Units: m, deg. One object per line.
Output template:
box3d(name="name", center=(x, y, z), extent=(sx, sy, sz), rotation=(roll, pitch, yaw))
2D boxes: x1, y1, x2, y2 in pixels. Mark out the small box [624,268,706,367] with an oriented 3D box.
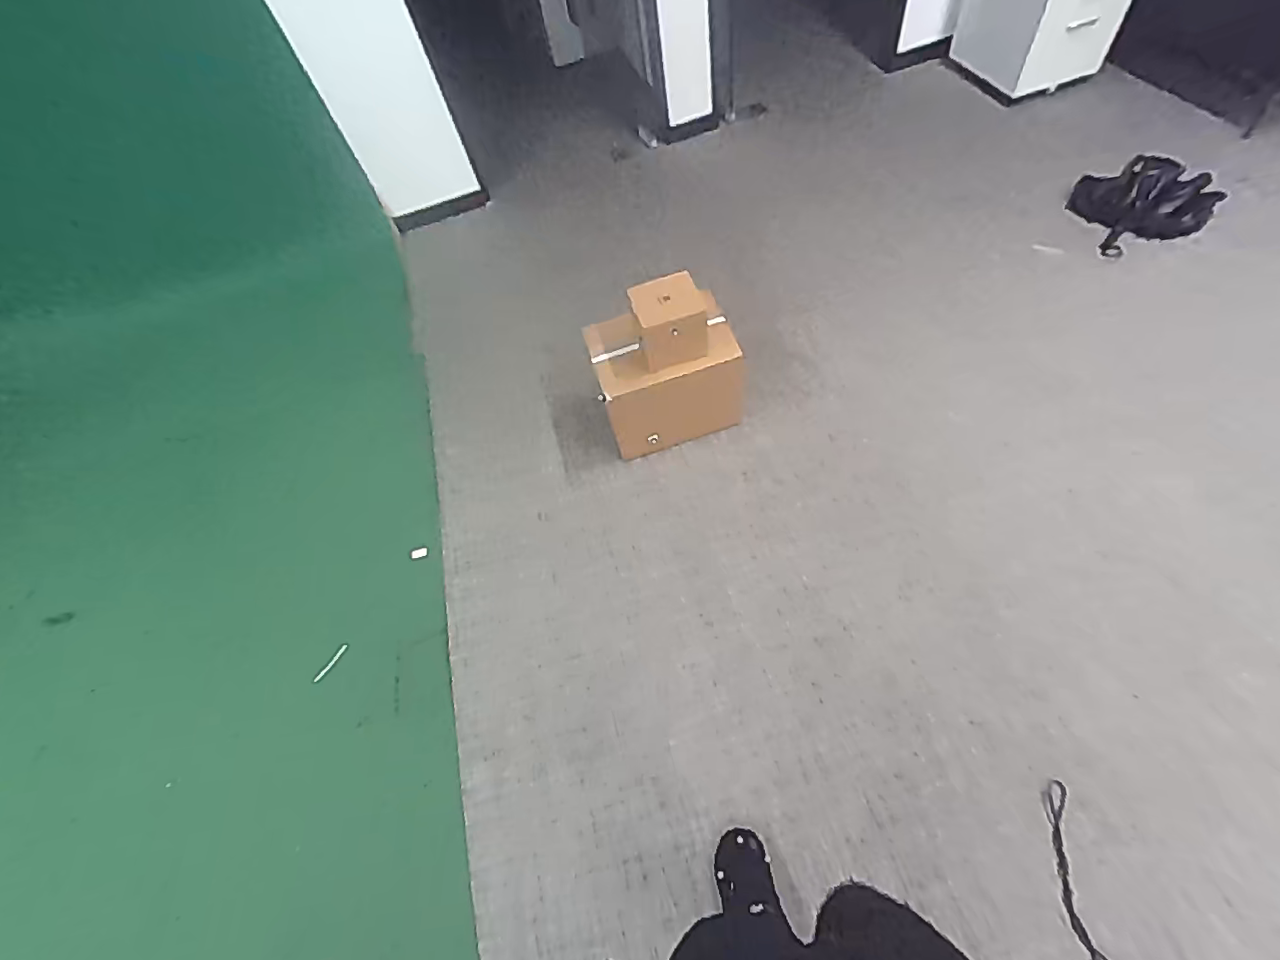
box3d(name="small box", center=(0.072, -0.436, 1.470), extent=(0.179, 0.176, 0.168), rotation=(-19, 59, -1))
